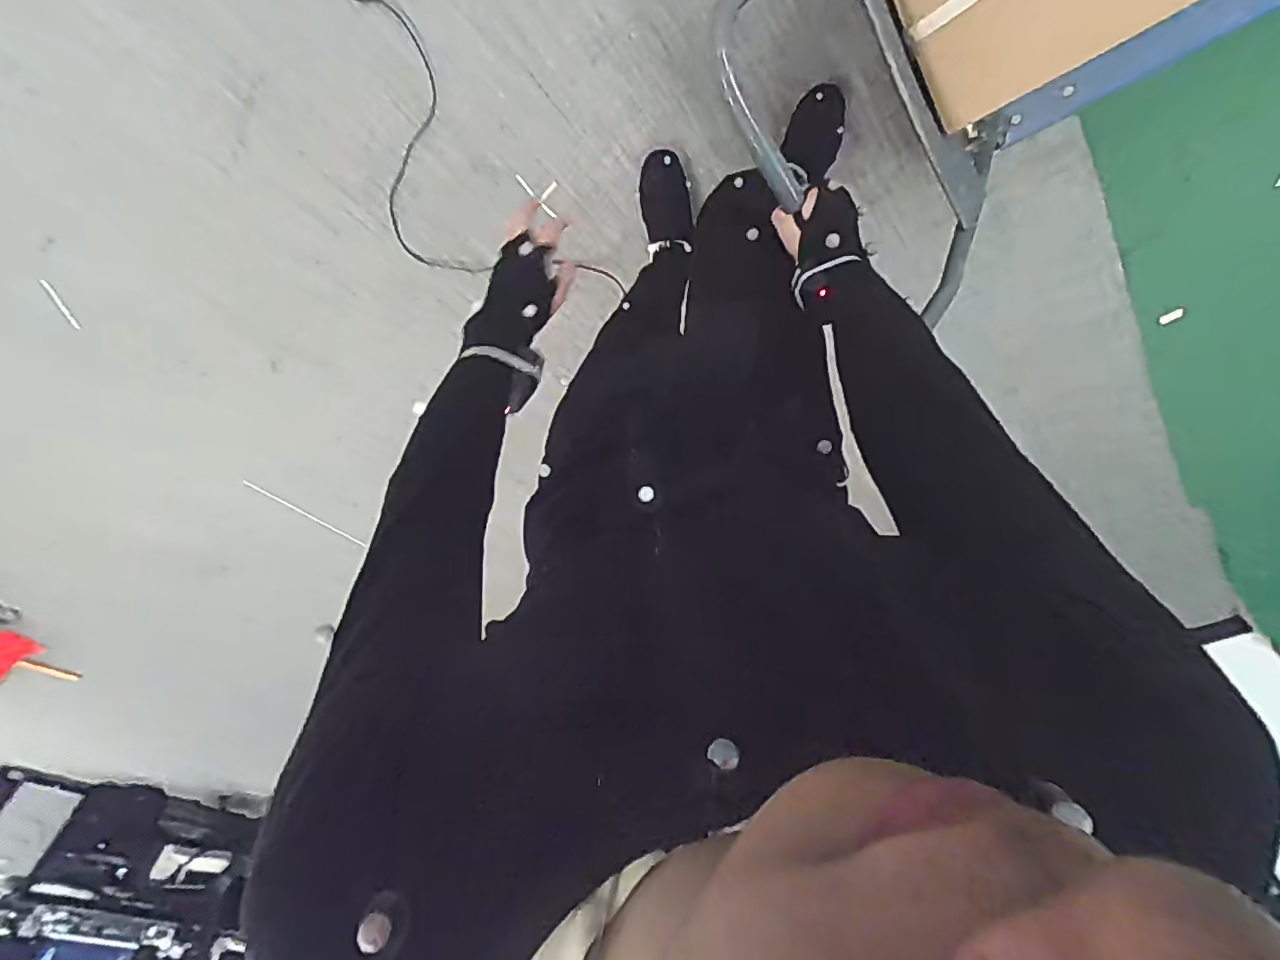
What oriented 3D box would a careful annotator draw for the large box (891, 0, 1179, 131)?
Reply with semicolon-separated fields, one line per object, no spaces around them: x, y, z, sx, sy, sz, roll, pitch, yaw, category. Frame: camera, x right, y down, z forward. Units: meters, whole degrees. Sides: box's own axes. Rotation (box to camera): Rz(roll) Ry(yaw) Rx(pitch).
0.574;-0.781;0.718;0.408;0.320;0.320;-13;130;45;large box
